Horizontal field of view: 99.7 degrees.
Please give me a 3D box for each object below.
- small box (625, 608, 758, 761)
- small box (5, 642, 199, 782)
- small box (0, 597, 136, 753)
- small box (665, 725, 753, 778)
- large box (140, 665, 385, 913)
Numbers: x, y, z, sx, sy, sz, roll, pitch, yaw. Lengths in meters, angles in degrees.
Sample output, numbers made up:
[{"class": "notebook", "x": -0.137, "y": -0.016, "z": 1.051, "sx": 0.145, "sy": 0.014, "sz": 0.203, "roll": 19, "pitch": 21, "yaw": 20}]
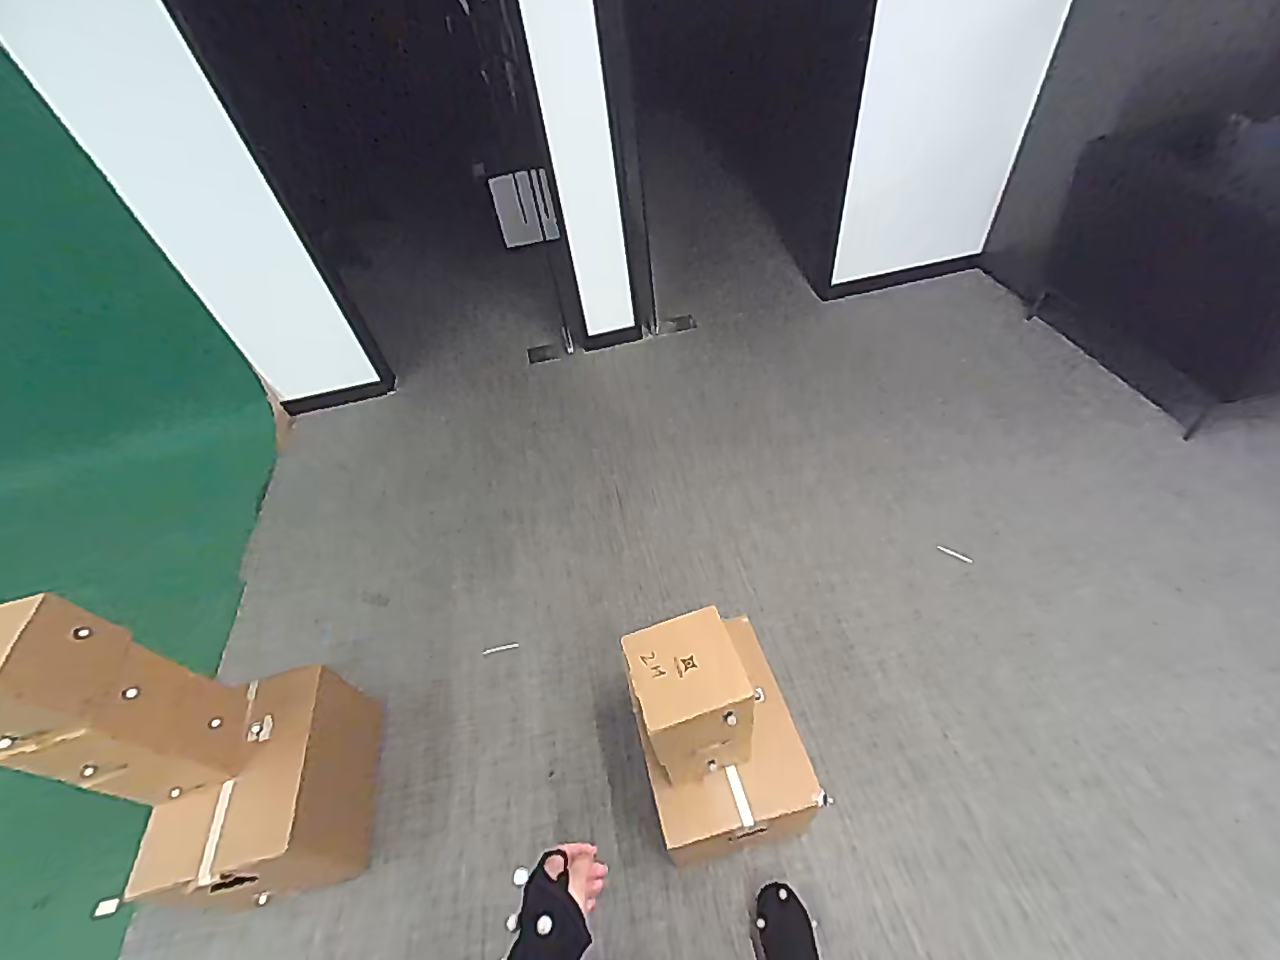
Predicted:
[{"class": "small box", "x": 0.088, "y": 0.352, "z": 0.926, "sx": 0.179, "sy": 0.176, "sz": 0.168, "roll": -18, "pitch": 47, "yaw": -5}, {"class": "small box", "x": -0.988, "y": 0.439, "z": 1.019, "sx": 0.168, "sy": 0.176, "sz": 0.179, "roll": -17, "pitch": 49, "yaw": -2}, {"class": "small box", "x": -1.012, "y": 0.327, "z": 0.902, "sx": 0.168, "sy": 0.176, "sz": 0.179, "roll": -15, "pitch": 49, "yaw": 0}, {"class": "small box", "x": 0.111, "y": 0.458, "z": 1.052, "sx": 0.168, "sy": 0.176, "sz": 0.179, "roll": -18, "pitch": 49, "yaw": -5}, {"class": "large box", "x": -0.842, "y": 0.728, "z": 1.286, "sx": 0.320, "sy": 0.320, "sz": 0.408, "roll": -15, "pitch": 47, "yaw": -3}]
